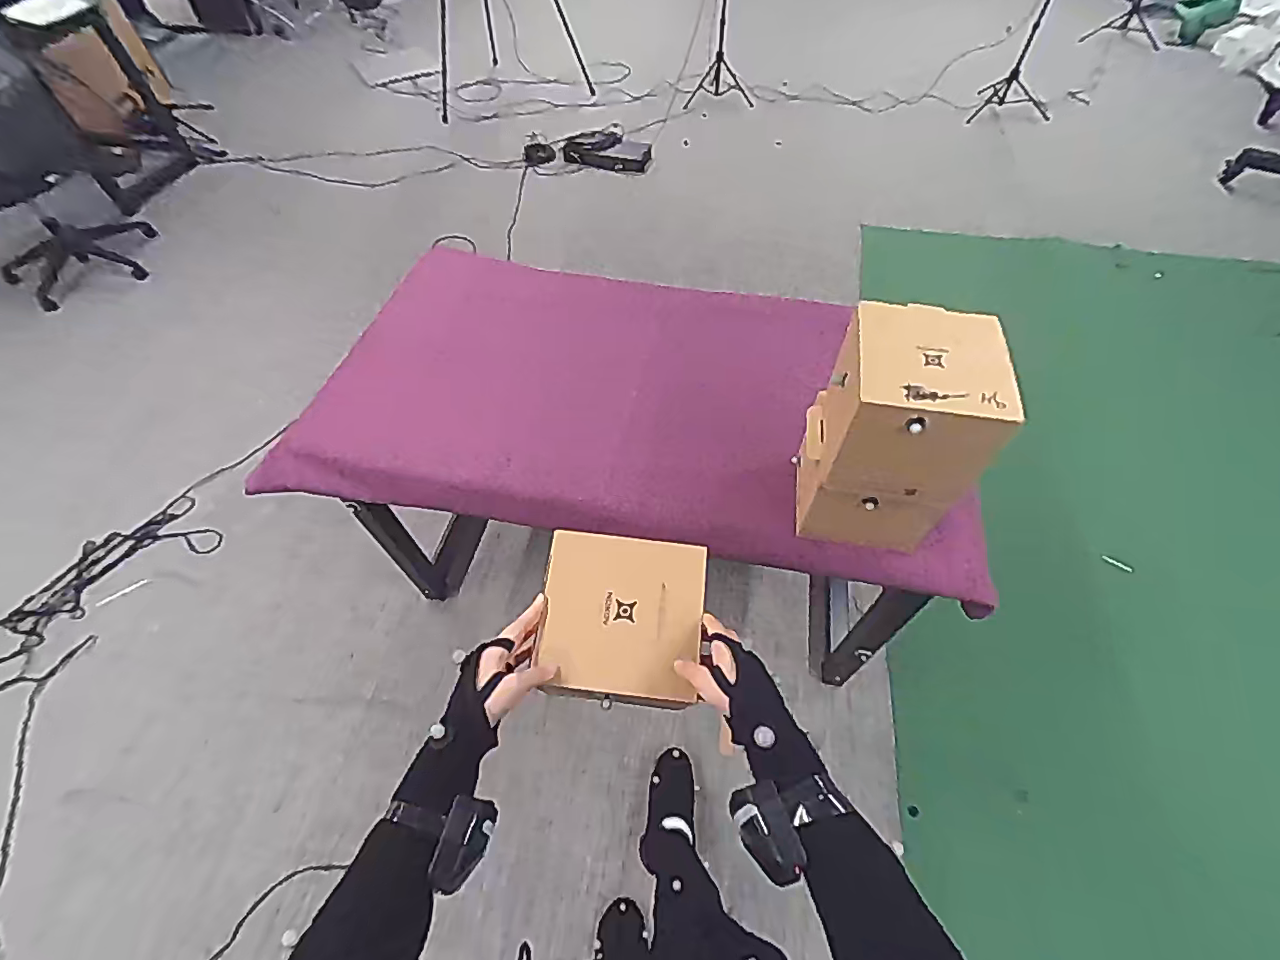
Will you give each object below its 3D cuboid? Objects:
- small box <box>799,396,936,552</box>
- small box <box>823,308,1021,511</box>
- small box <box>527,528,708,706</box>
[{"bbox_3d":[0.344,-0.005,0.824,0.179,0.176,0.168,7,55,7],"label":"small box"},{"bbox_3d":[0.334,-0.087,0.681,0.168,0.176,0.179,9,55,9],"label":"small box"},{"bbox_3d":[-0.021,0.172,0.649,0.179,0.176,0.168,7,65,2],"label":"small box"}]
